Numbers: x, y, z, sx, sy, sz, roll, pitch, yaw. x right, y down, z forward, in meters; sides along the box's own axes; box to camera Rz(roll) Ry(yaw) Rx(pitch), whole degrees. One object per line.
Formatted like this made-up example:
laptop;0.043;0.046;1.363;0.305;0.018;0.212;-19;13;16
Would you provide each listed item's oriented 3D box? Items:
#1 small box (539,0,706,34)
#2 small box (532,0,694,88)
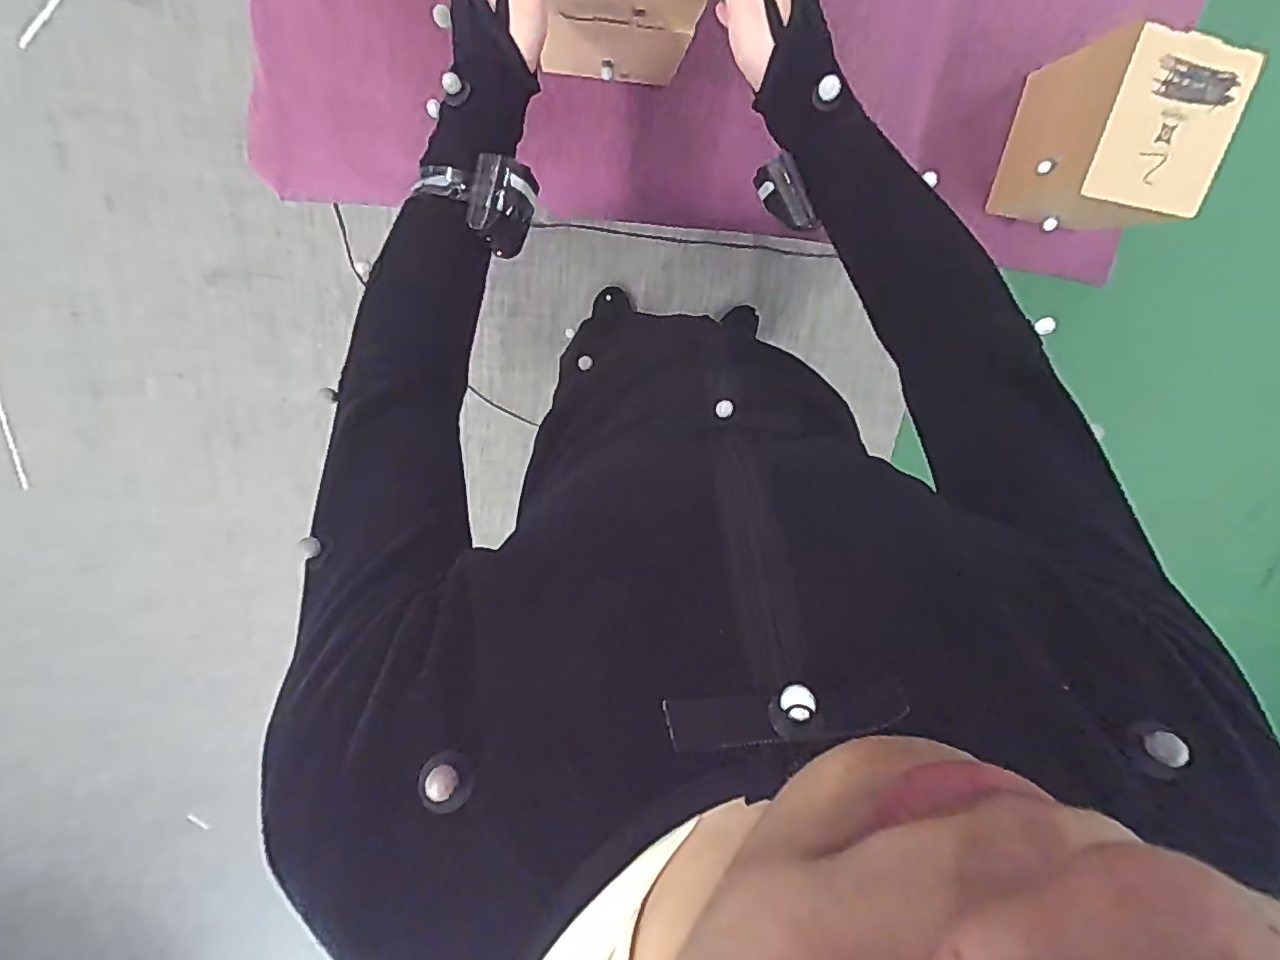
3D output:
small box;-0.012;-0.509;0.434;0.168;0.176;0.179;2;110;-6
small box;-0.028;-0.565;0.588;0.168;0.176;0.179;2;111;-7
